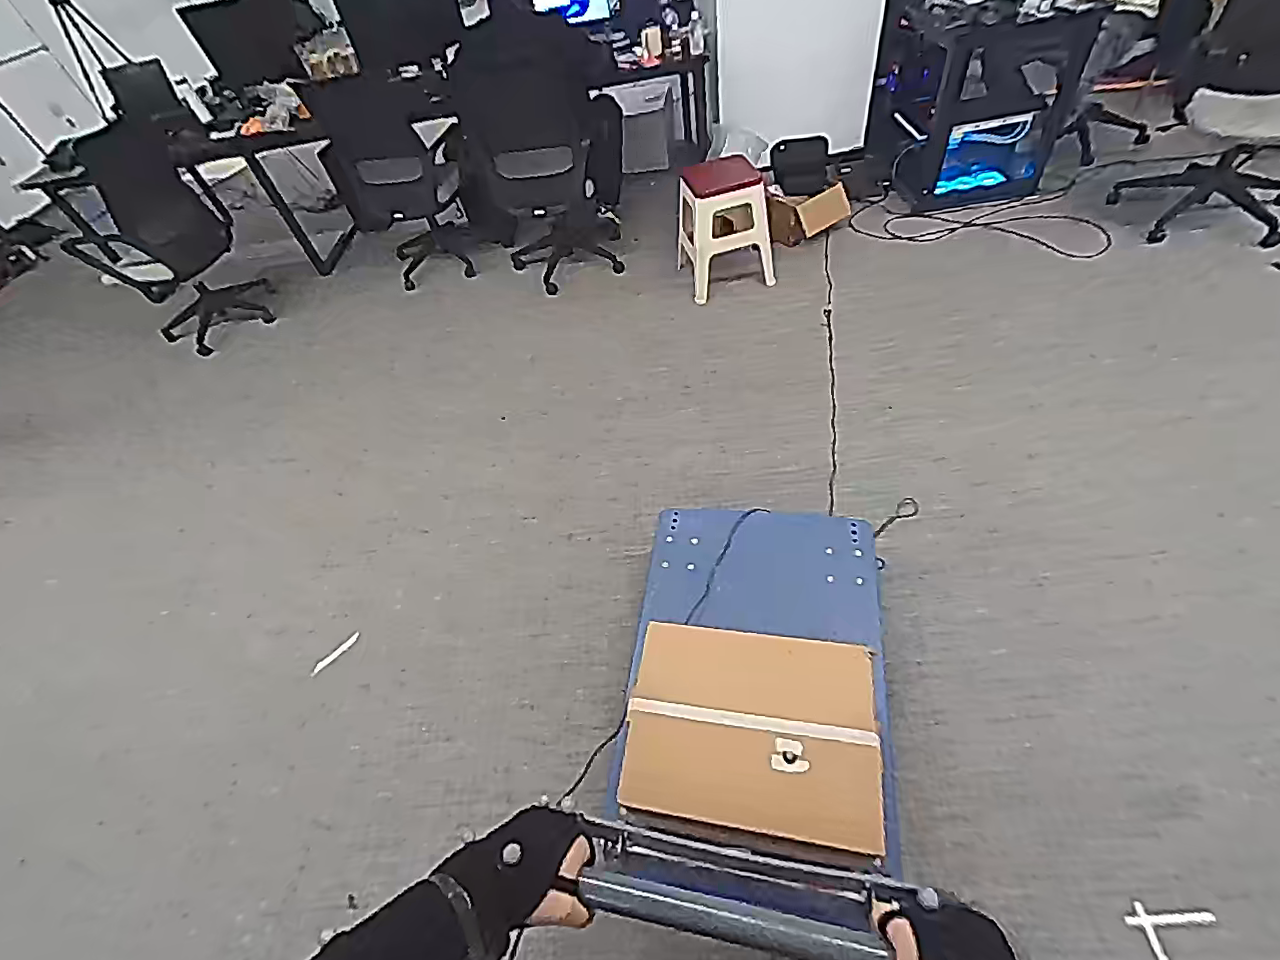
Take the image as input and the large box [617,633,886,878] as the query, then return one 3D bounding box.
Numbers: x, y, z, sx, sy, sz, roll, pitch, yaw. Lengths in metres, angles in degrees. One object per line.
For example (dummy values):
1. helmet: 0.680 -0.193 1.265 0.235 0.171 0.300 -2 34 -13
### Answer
1. large box: 0.200 0.511 1.009 0.408 0.320 0.320 3 53 13
